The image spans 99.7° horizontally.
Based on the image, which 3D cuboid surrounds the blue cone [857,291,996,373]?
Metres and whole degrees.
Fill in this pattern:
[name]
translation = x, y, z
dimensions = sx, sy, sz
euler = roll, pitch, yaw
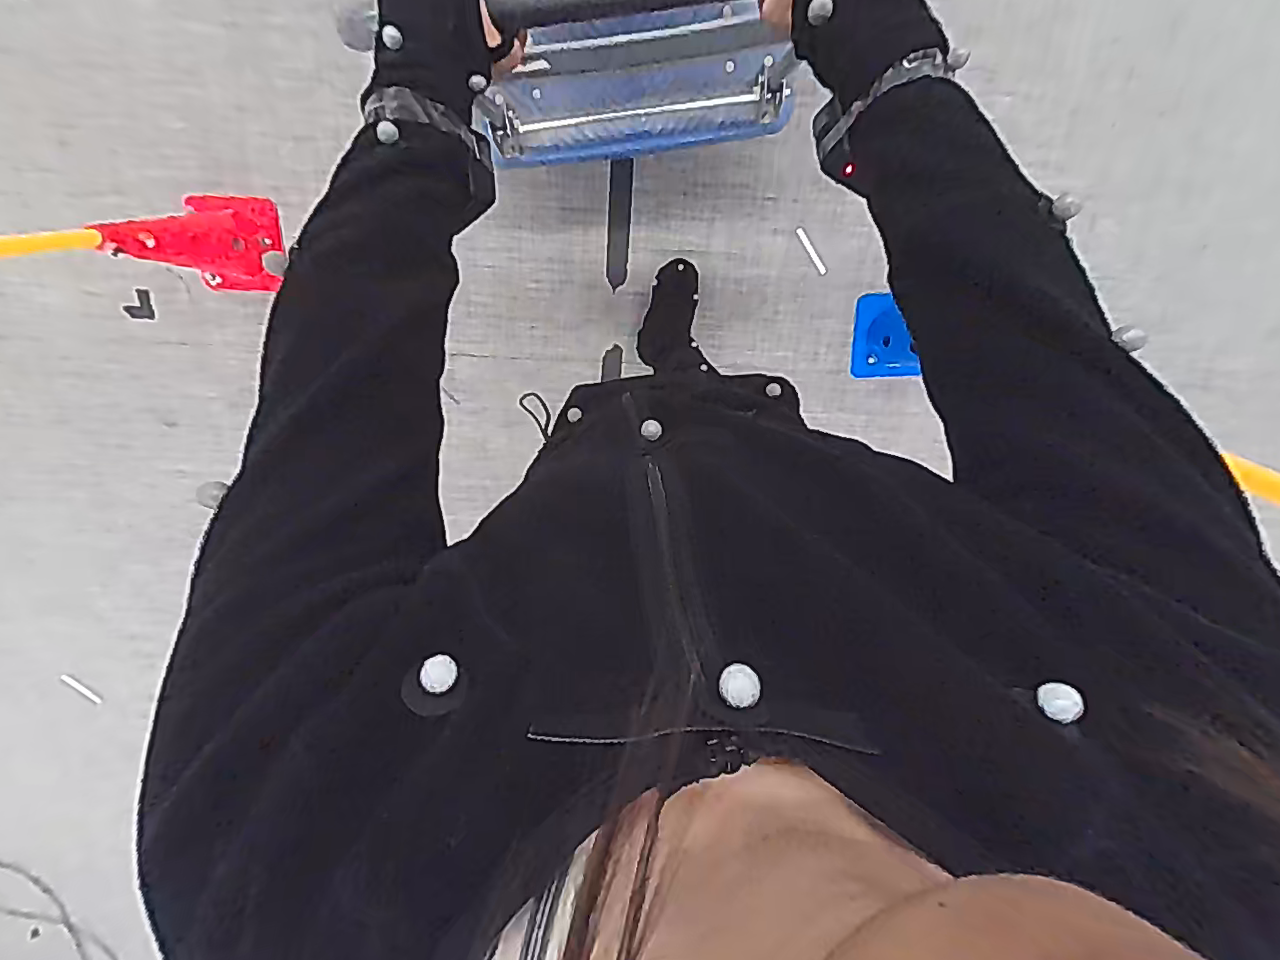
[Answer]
[blue cone]
translation = 0.626, -0.299, 1.155
dimensions = 0.193, 0.380, 0.192
euler = -1, 110, -1
